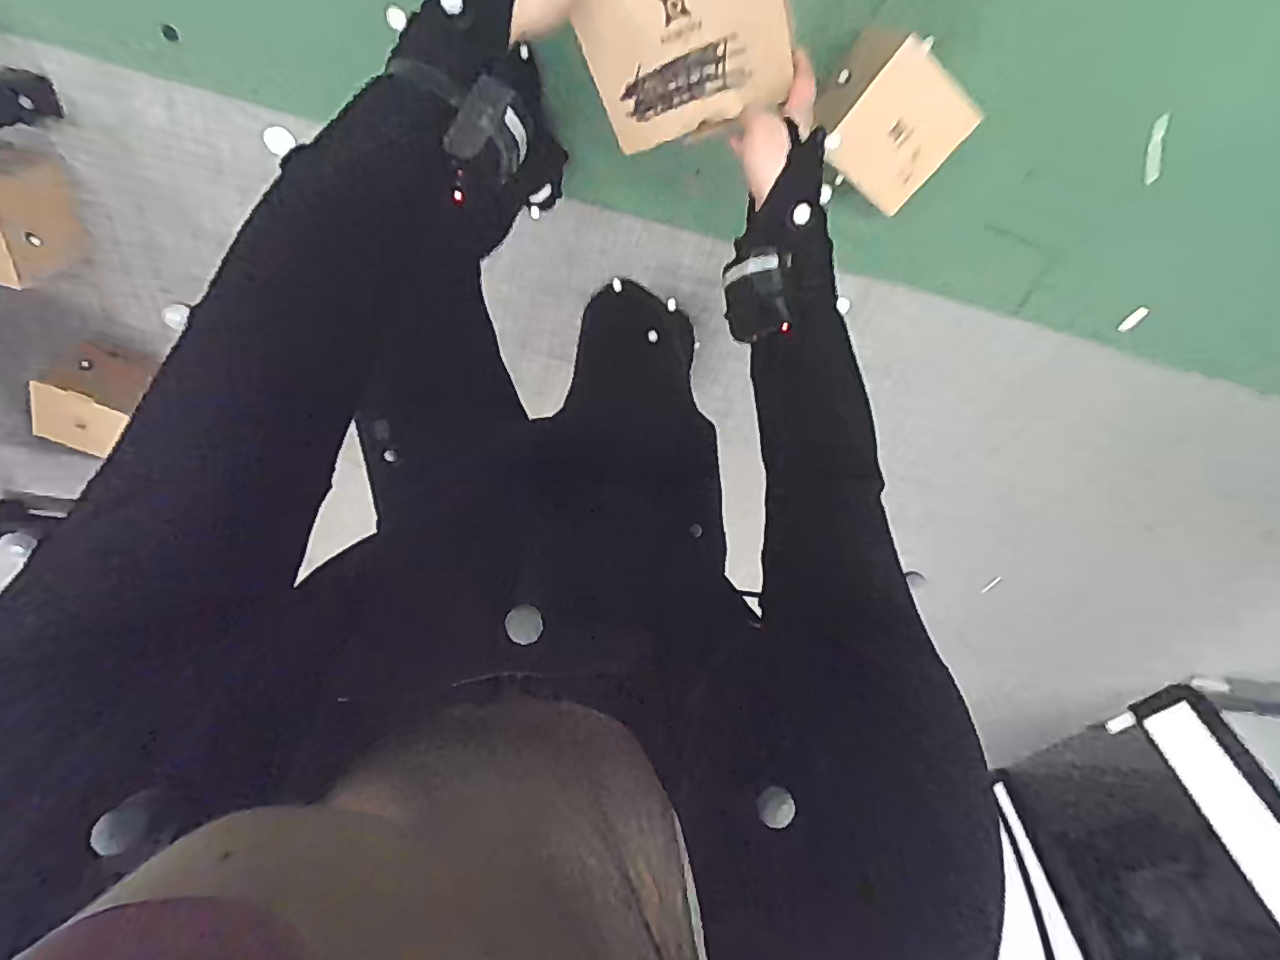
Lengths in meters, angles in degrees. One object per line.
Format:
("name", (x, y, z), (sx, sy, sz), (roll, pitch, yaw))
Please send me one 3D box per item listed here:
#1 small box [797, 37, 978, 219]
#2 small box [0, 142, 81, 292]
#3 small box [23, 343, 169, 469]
("small box", (0.380, -0.563, 0.862), (0.179, 0.176, 0.168), (25, 128, -25))
("small box", (-1.098, -0.452, 0.898), (0.168, 0.176, 0.179), (14, 131, -16))
("small box", (-1.171, -0.163, 1.175), (0.168, 0.176, 0.179), (27, 129, -25))
